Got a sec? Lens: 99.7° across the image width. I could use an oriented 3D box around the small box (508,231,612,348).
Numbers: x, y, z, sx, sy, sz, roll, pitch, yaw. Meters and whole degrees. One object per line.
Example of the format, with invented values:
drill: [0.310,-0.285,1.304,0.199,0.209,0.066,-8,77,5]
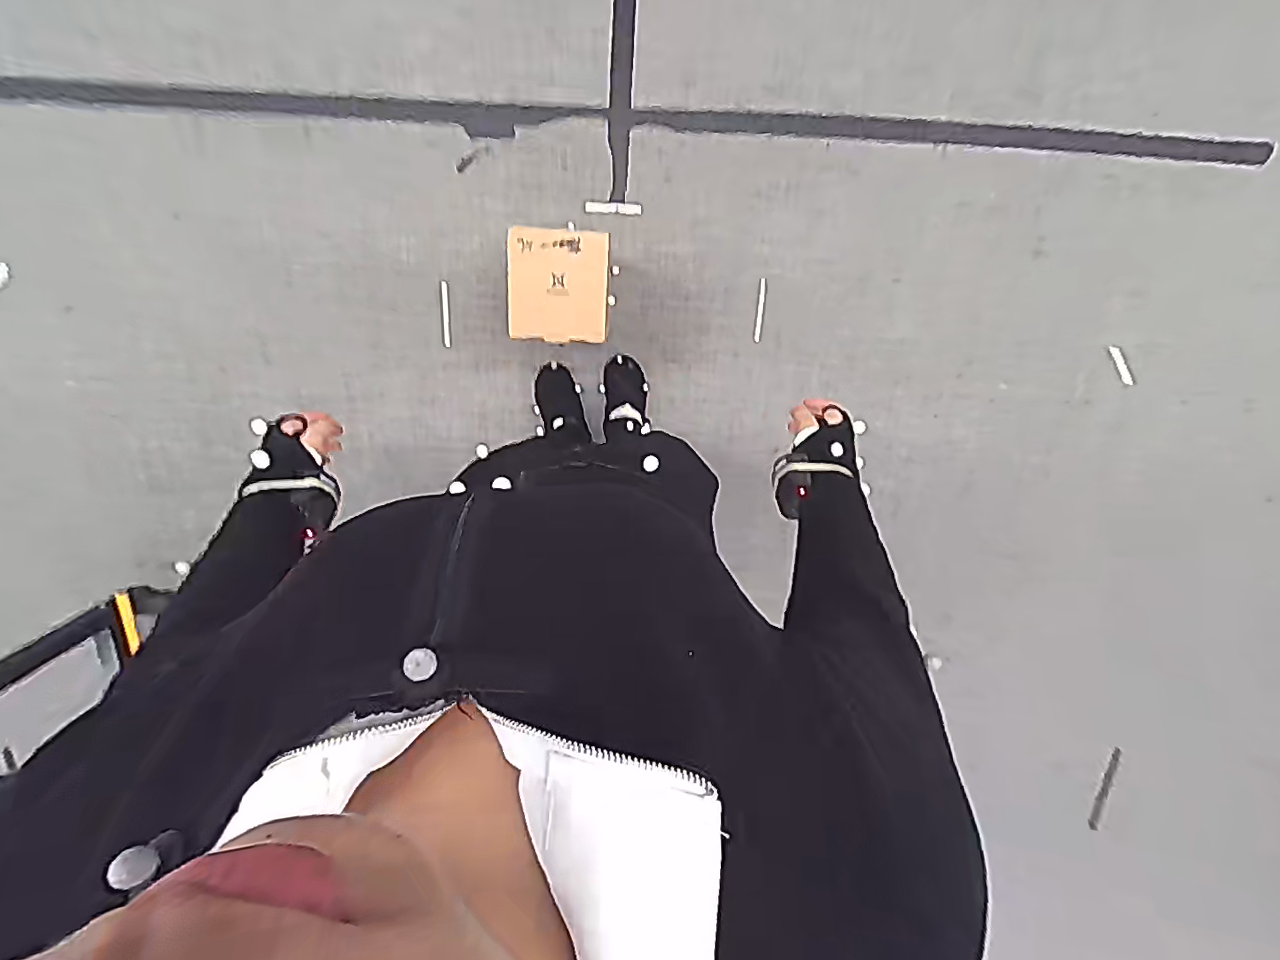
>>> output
small box: [-0.139,-0.339,0.975,0.168,0.176,0.179,3,108,-3]
